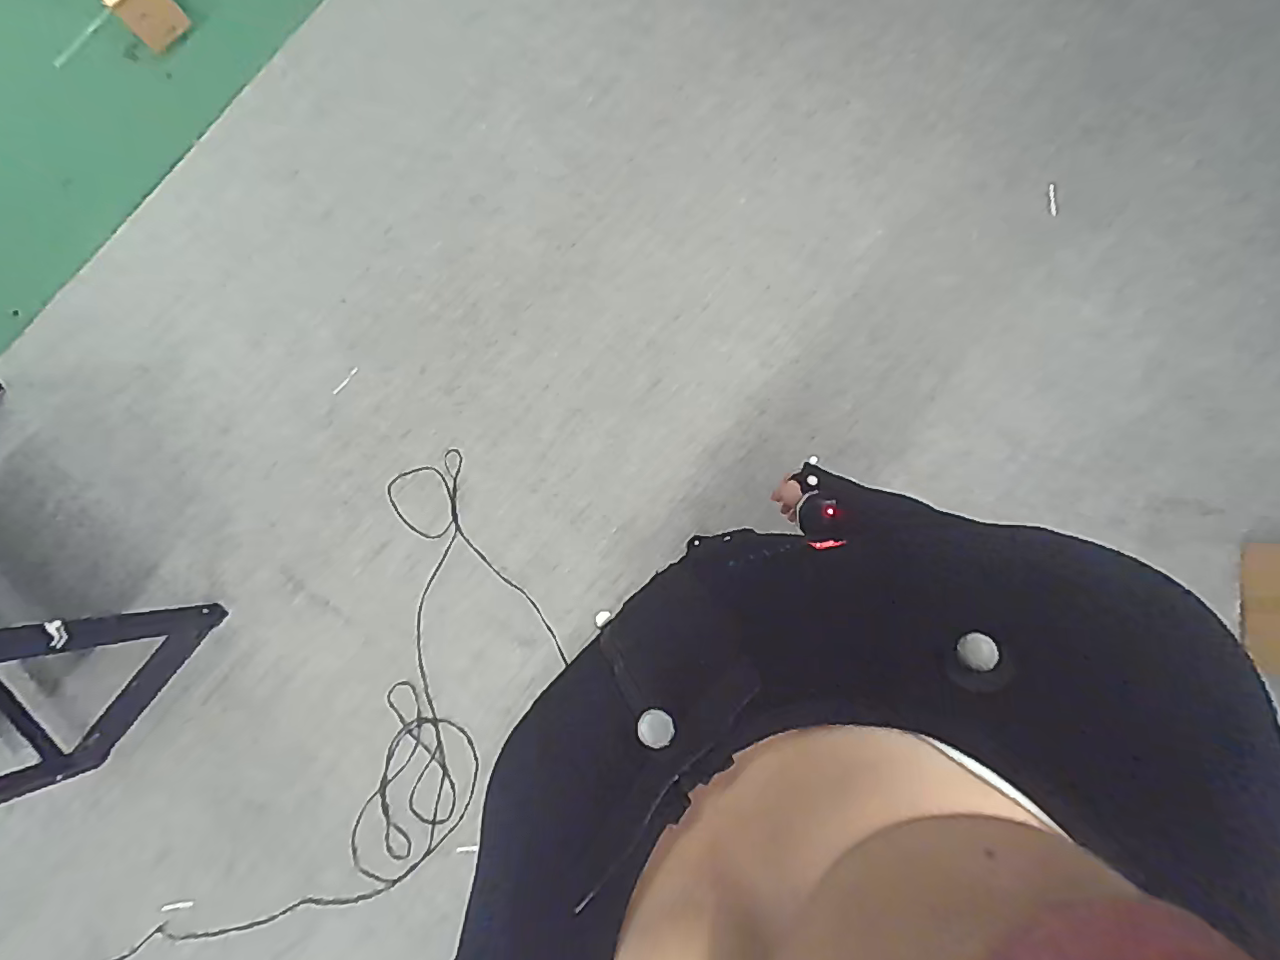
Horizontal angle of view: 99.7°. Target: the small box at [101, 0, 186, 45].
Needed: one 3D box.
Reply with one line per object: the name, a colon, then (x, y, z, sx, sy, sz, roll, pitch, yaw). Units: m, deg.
small box: (-1.677, -1.606, 1.796, 0.168, 0.176, 0.179, -43, 81, -2)
